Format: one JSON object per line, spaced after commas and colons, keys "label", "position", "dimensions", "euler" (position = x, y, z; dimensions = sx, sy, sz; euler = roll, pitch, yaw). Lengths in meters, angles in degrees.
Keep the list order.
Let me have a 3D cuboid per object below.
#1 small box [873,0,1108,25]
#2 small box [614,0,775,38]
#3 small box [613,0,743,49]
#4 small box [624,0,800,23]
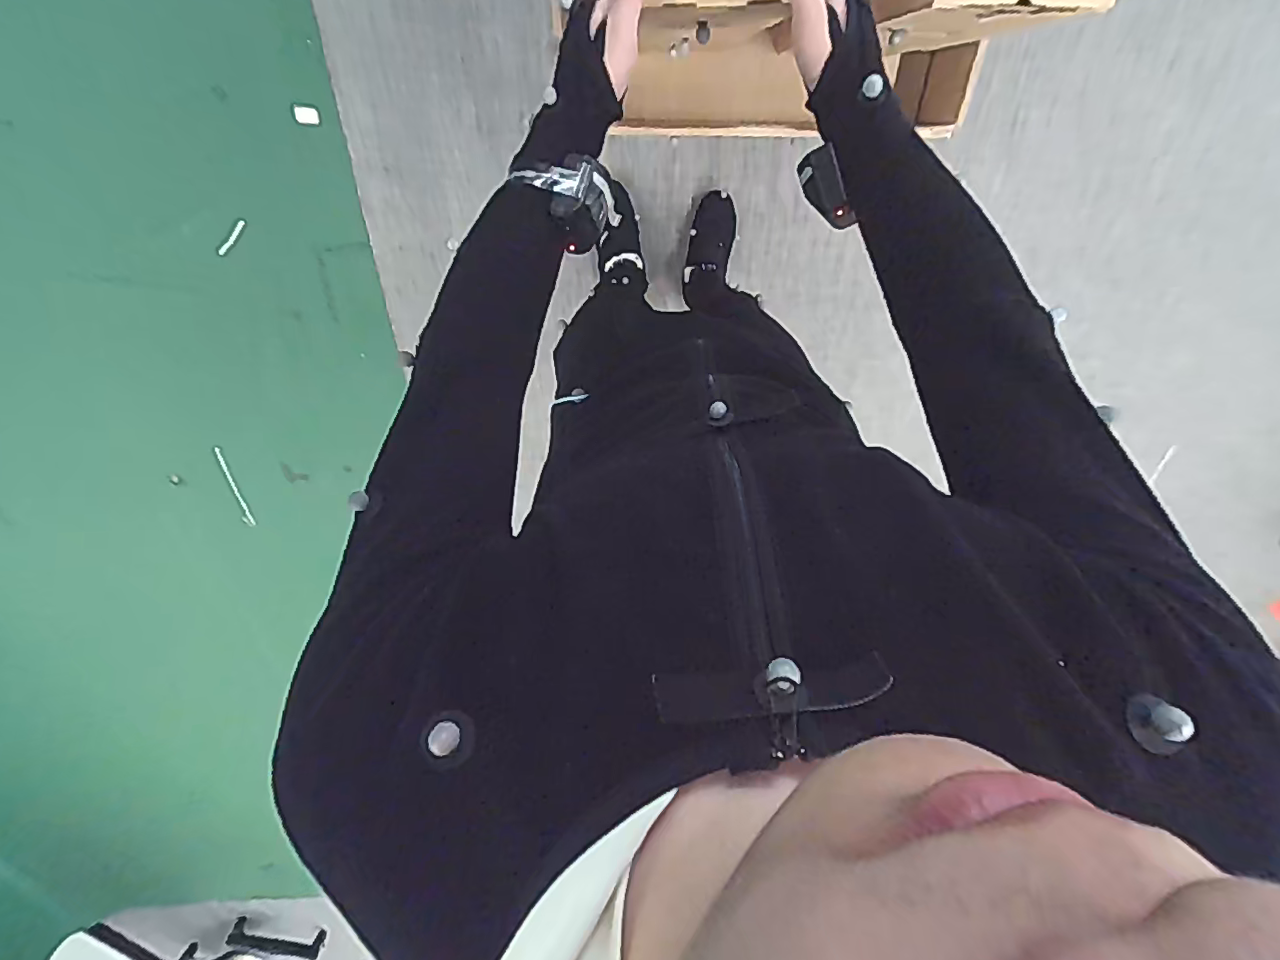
{"label": "small box", "position": [0.329, -0.532, 0.486], "dimensions": [0.168, 0.176, 0.179], "euler": [-1, 124, -3]}
{"label": "small box", "position": [0.057, -0.617, 0.614], "dimensions": [0.179, 0.176, 0.168], "euler": [-3, 125, -1]}
{"label": "small box", "position": [0.050, -0.710, 0.749], "dimensions": [0.179, 0.176, 0.168], "euler": [-2, 124, -3]}
{"label": "small box", "position": [0.064, -0.527, 0.475], "dimensions": [0.168, 0.176, 0.179], "euler": [-2, 125, 0]}
